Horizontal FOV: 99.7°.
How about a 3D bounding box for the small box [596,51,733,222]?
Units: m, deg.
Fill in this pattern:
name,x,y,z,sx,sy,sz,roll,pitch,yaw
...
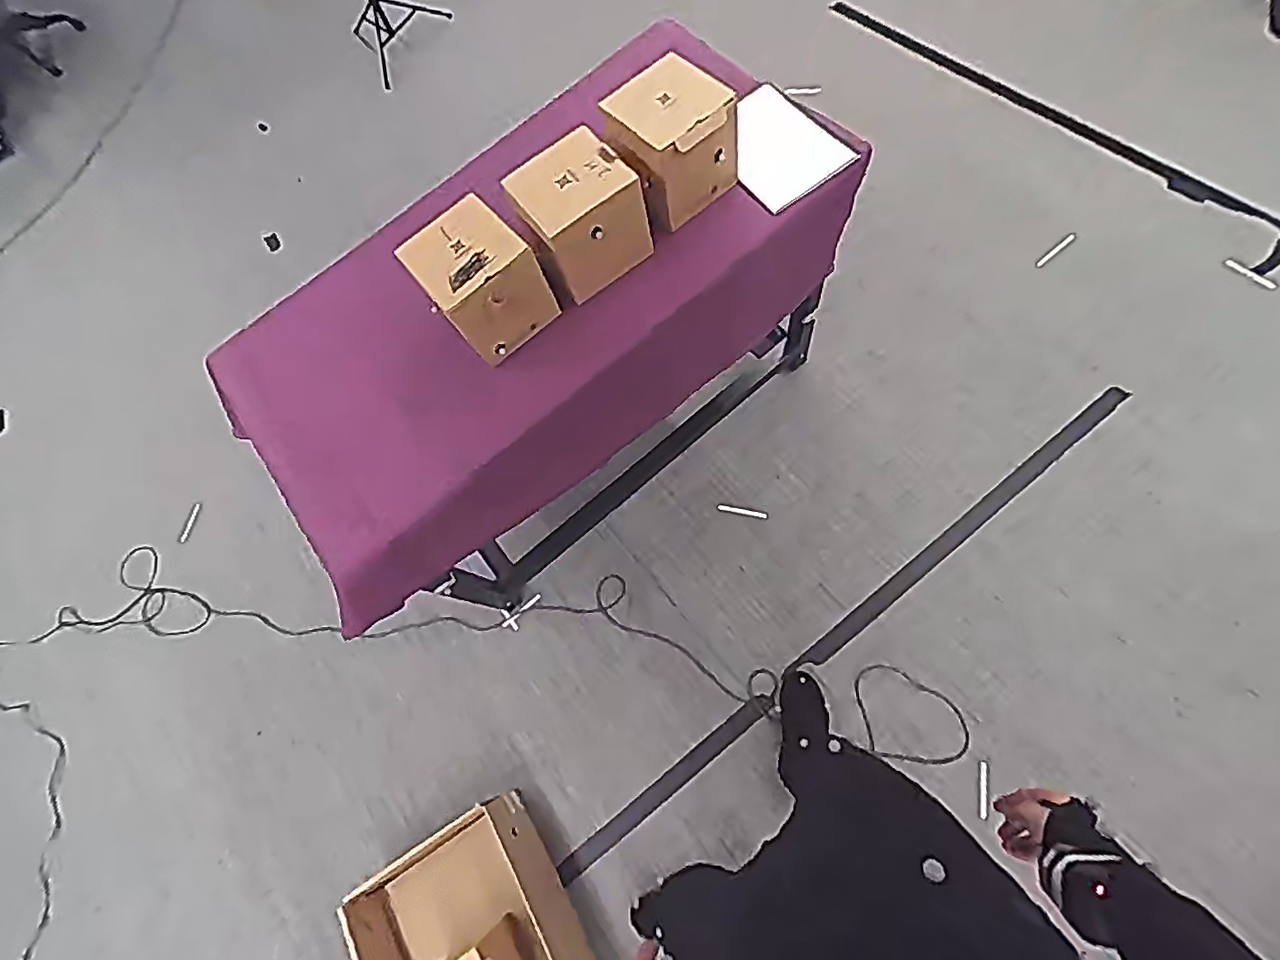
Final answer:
name,x,y,z,sx,sy,sz,roll,pitch,yaw
small box,0.052,-0.599,0.965,0.168,0.176,0.179,-38,68,-5
